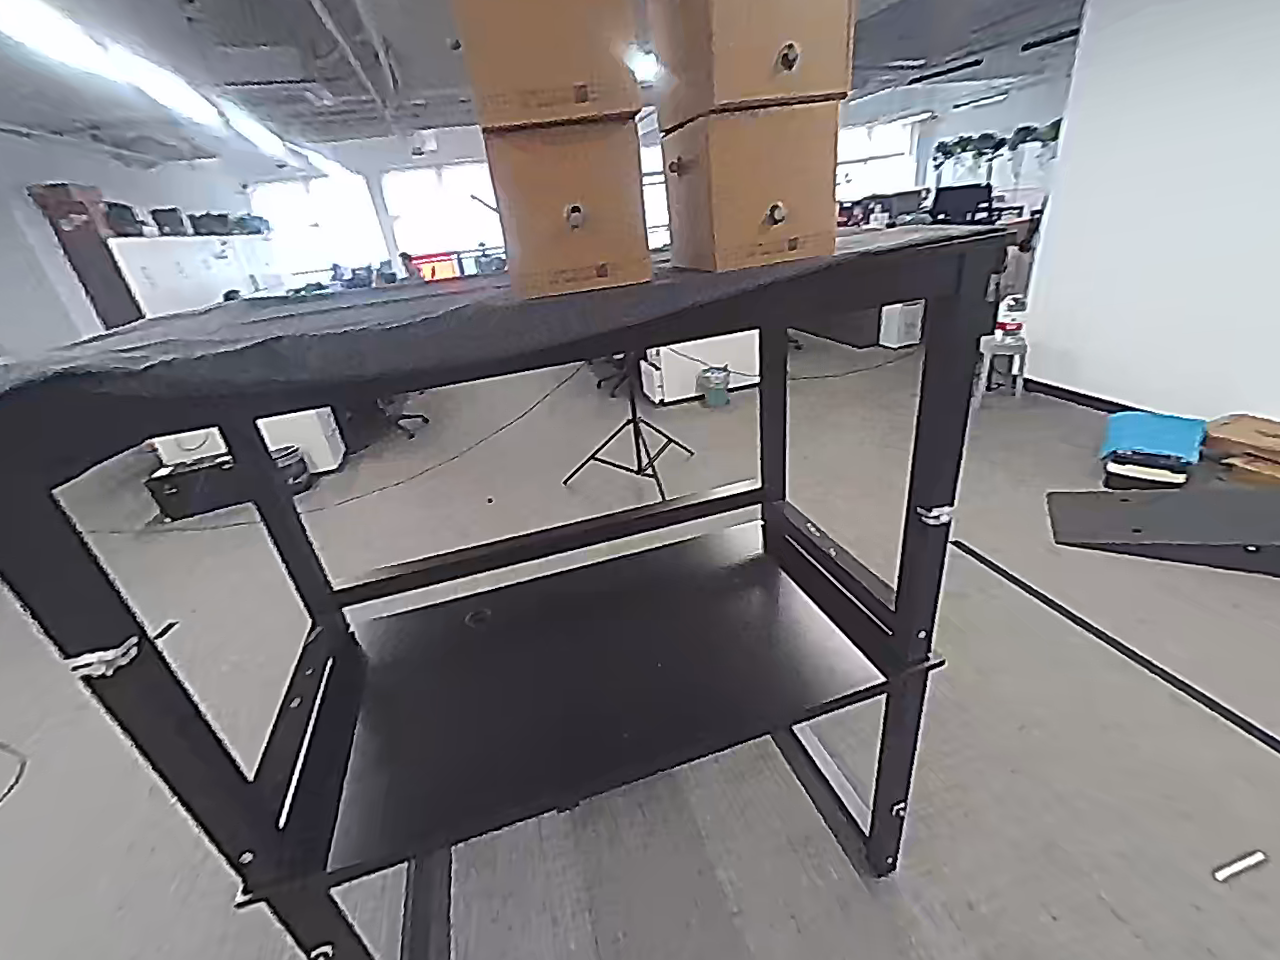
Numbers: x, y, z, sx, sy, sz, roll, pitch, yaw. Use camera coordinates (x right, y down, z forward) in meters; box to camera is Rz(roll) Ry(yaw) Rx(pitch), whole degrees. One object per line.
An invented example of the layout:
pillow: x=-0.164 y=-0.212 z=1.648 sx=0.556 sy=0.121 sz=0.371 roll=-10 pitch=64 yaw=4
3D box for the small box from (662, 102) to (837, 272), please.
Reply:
small box: x=0.136 y=-0.373 z=0.711 sx=0.168 sy=0.176 sz=0.179 roll=-14 pitch=26 yaw=-10

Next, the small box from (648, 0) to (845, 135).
small box: x=0.121 y=-0.518 z=0.628 sx=0.179 sy=0.176 sz=0.168 roll=-14 pitch=26 yaw=-15

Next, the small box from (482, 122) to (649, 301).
small box: x=-0.091 y=-0.322 z=0.669 sx=0.168 sy=0.176 sz=0.179 roll=-11 pitch=26 yaw=-9
